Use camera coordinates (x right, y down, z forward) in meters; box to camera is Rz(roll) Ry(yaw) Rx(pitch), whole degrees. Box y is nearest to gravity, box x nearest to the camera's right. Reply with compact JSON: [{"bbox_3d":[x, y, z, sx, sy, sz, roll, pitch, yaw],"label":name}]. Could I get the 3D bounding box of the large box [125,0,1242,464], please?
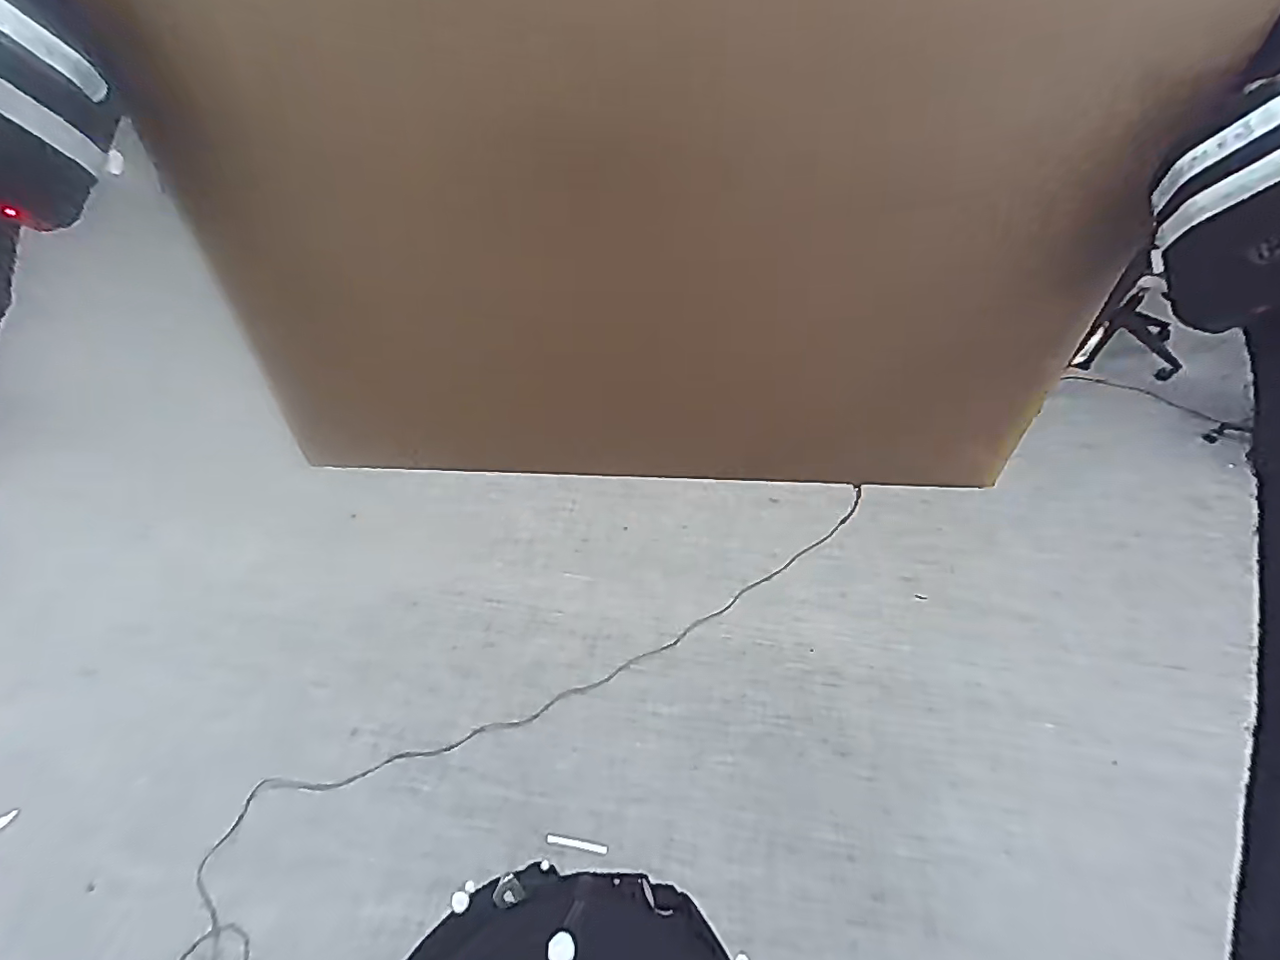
[{"bbox_3d":[0.013,-0.223,0.335,0.408,0.320,0.320,3,42,0],"label":"large box"}]
